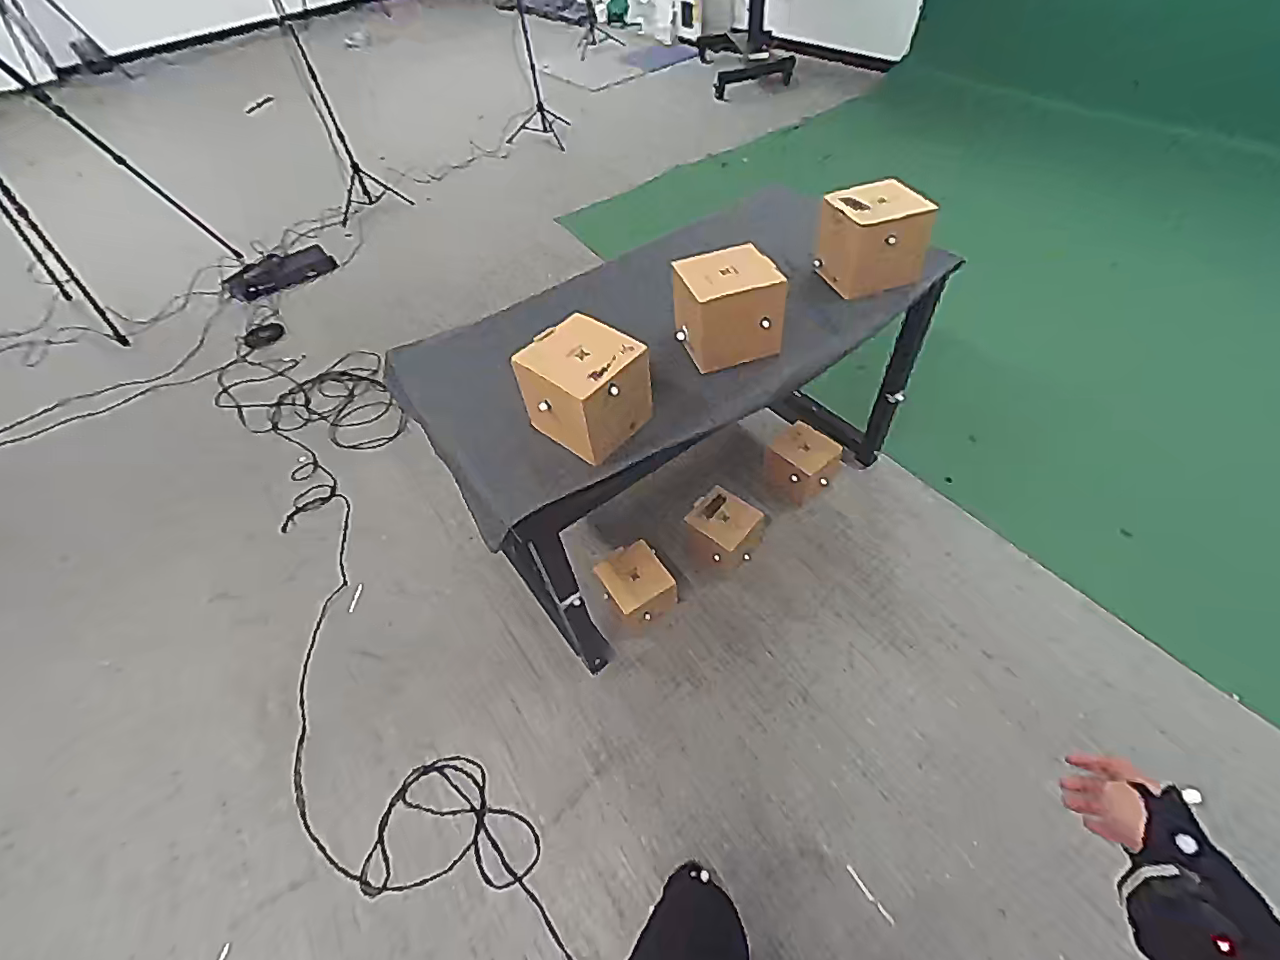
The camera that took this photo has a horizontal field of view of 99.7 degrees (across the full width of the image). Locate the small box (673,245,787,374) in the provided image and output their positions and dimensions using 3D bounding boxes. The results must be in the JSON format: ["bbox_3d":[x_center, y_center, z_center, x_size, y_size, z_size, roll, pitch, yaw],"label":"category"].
[{"bbox_3d":[0.176,-0.342,1.094,0.179,0.176,0.168,-17,49,-5],"label":"small box"}]

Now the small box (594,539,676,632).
[{"bbox_3d":[-0.009,0.308,1.536,0.168,0.176,0.179,-29,54,-16],"label":"small box"}]

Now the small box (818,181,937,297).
[{"bbox_3d":[0.510,-0.529,1.198,0.179,0.176,0.168,-16,50,-5],"label":"small box"}]

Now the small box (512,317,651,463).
[{"bbox_3d":[-0.098,-0.161,0.981,0.179,0.176,0.168,32,62,27],"label":"small box"}]

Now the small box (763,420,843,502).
[{"bbox_3d":[0.523,-0.054,1.757,0.168,0.176,0.179,-37,57,-21],"label":"small box"}]
